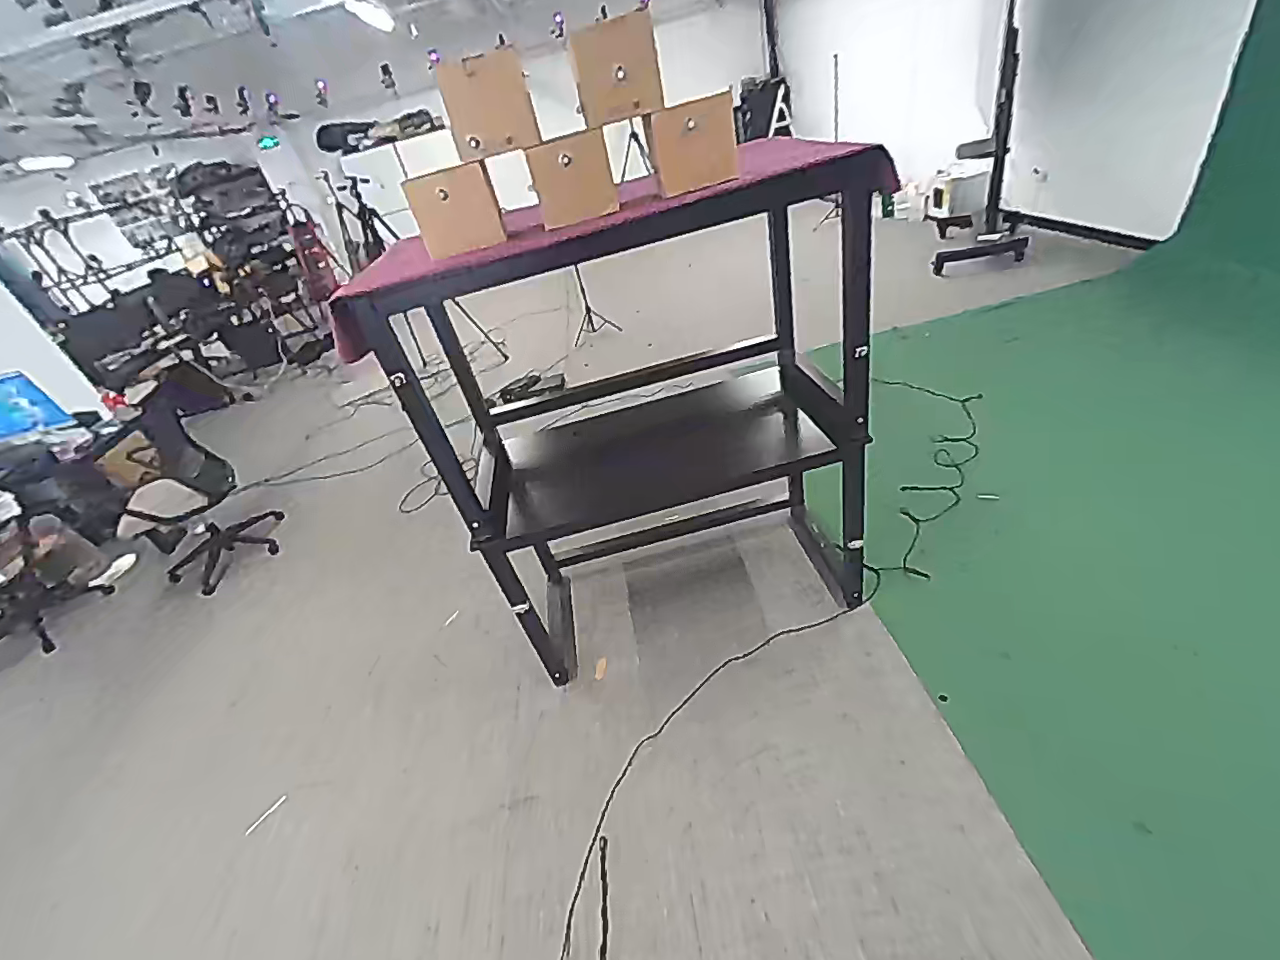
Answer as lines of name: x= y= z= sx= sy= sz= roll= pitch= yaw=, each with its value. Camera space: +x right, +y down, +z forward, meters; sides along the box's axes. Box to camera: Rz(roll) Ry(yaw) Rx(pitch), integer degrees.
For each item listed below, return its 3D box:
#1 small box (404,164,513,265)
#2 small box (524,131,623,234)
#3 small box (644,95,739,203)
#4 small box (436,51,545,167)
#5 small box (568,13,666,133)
small box: x=-0.410 y=-0.613 z=1.246 sx=0.179 sy=0.176 sz=0.168 roll=-16 pitch=35 yaw=-1
small box: x=-0.149 y=-0.678 z=1.235 sx=0.179 sy=0.176 sz=0.168 roll=-15 pitch=34 yaw=1
small box: x=0.119 y=-0.754 z=1.233 sx=0.179 sy=0.176 sz=0.168 roll=-16 pitch=34 yaw=2
small box: x=-0.309 y=-0.784 z=1.156 sx=0.168 sy=0.176 sz=0.179 roll=-14 pitch=34 yaw=2
small box: x=-0.049 y=-0.853 z=1.152 sx=0.168 sy=0.176 sz=0.179 roll=-15 pitch=35 yaw=0
